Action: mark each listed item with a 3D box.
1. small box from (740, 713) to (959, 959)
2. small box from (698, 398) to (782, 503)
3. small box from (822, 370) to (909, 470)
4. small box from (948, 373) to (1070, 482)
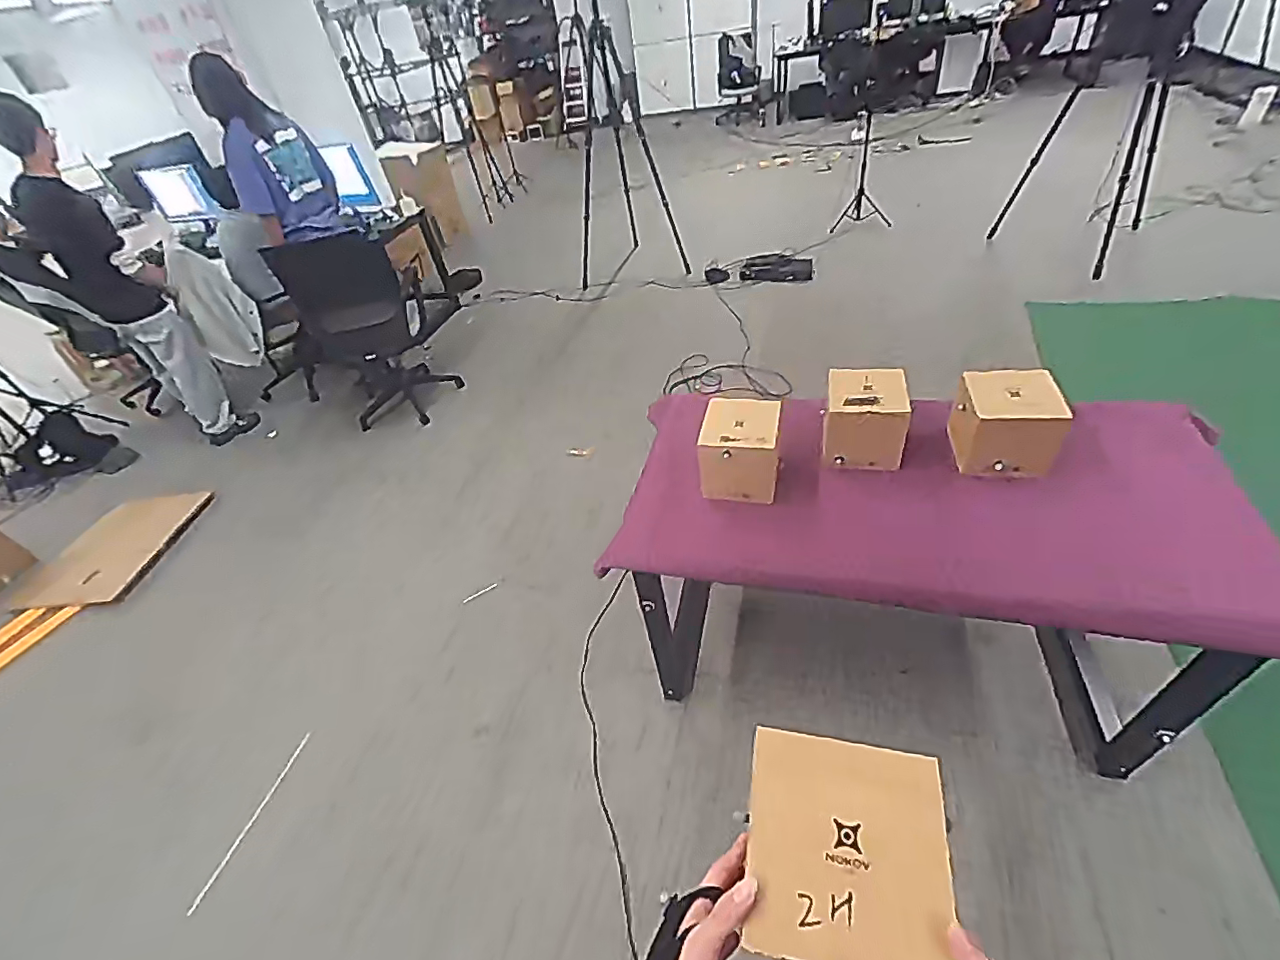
[{"bbox_3d":[0.190,0.358,0.533,0.168,0.176,0.179,5,52,14],"label":"small box"},{"bbox_3d":[0.235,-0.071,1.252,0.168,0.176,0.179,4,44,18],"label":"small box"},{"bbox_3d":[0.523,-0.141,1.270,0.168,0.176,0.179,4,43,16],"label":"small box"},{"bbox_3d":[0.795,-0.119,1.189,0.168,0.176,0.179,3,45,16],"label":"small box"}]
